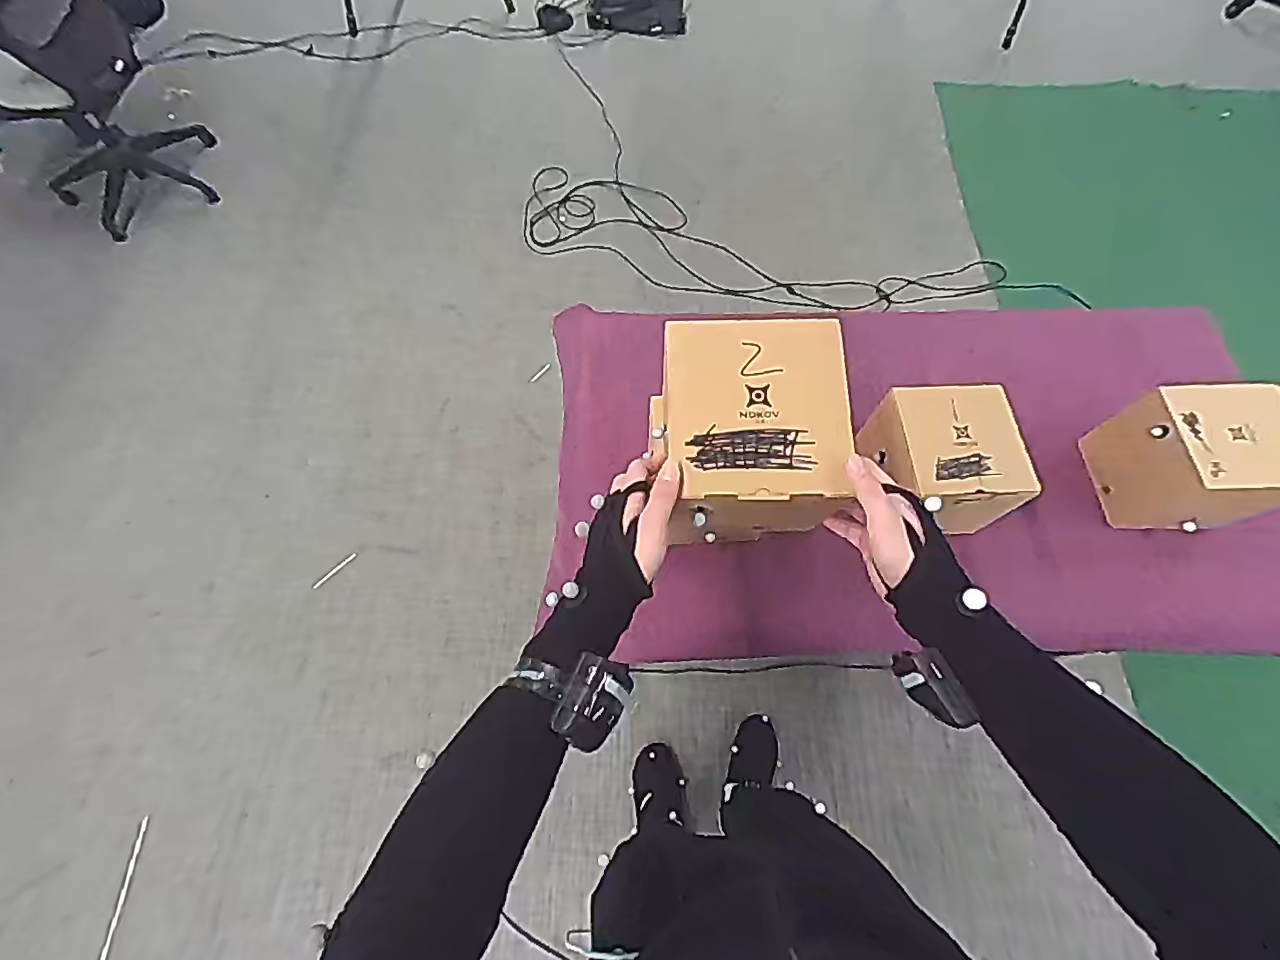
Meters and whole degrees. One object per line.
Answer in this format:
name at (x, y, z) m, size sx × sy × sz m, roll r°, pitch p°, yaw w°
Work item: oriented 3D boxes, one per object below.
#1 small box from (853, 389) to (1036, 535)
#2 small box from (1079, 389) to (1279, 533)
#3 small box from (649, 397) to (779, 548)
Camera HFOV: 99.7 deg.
small box at (0.447, -0.019, 0.827) m, size 0.168 × 0.176 × 0.179 m, roll -1°, pitch 64°, yaw -1°
small box at (0.838, -0.023, 0.826) m, size 0.179 × 0.176 × 0.168 m, roll 0°, pitch 65°, yaw 0°
small box at (0.100, -0.007, 0.822) m, size 0.168 × 0.176 × 0.179 m, roll -3°, pitch 65°, yaw -1°
